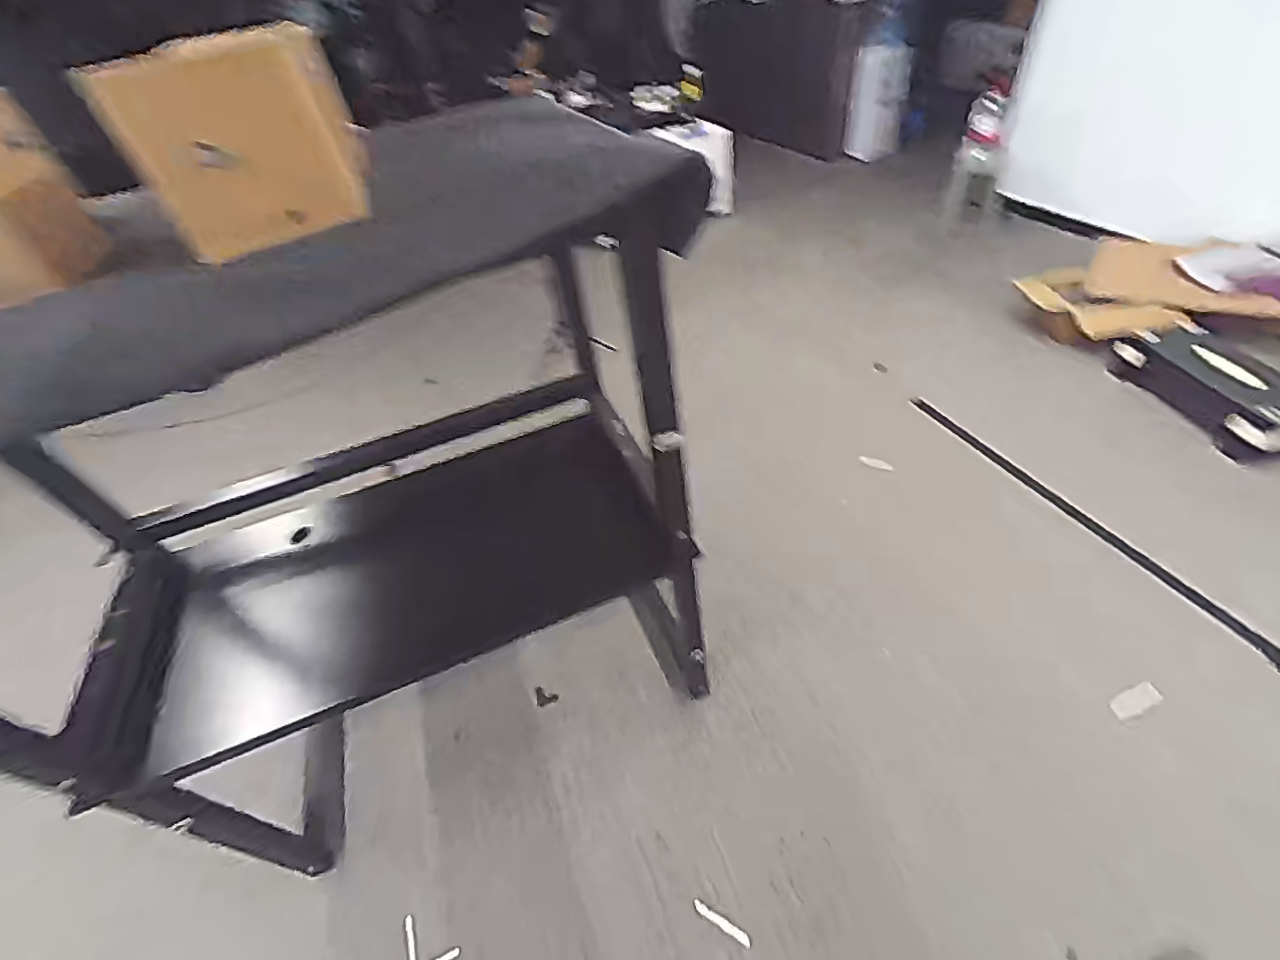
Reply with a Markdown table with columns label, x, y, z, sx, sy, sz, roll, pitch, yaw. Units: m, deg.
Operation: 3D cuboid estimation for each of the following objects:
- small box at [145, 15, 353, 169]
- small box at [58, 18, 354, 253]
| label | x | y | z | sx | sy | sz | roll | pitch | yaw |
| --- | --- | --- | --- | --- | --- | --- | --- | --- | --- |
| small box | -0.526 | -0.530 | 0.760 | 0.168 | 0.176 | 0.179 | -22 | 45 | -11 |
| small box | -0.422 | -0.358 | 0.568 | 0.168 | 0.176 | 0.179 | -22 | 43 | -12 |
